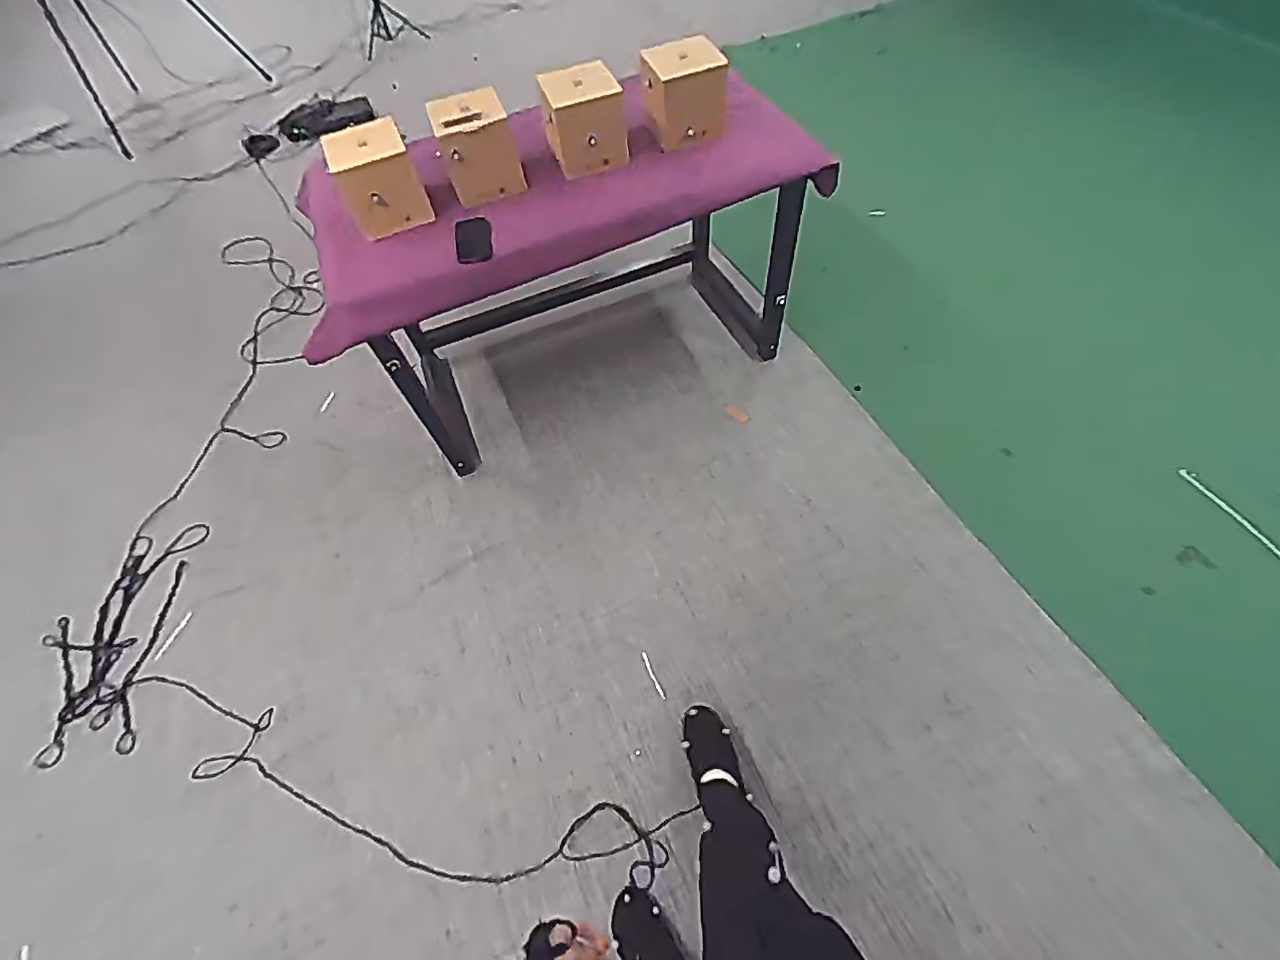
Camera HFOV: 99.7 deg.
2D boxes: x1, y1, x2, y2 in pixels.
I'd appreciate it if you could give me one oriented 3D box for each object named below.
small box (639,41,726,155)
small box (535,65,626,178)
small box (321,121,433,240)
[{"bbox_3d":[0.104,-0.952,1.354,0.168,0.176,0.179,-18,59,-5],"label":"small box"},{"bbox_3d":[-0.140,-0.866,1.322,0.168,0.176,0.179,-19,59,-7],"label":"small box"},{"bbox_3d":[-0.603,-0.686,1.255,0.168,0.176,0.179,-24,59,-9],"label":"small box"}]
